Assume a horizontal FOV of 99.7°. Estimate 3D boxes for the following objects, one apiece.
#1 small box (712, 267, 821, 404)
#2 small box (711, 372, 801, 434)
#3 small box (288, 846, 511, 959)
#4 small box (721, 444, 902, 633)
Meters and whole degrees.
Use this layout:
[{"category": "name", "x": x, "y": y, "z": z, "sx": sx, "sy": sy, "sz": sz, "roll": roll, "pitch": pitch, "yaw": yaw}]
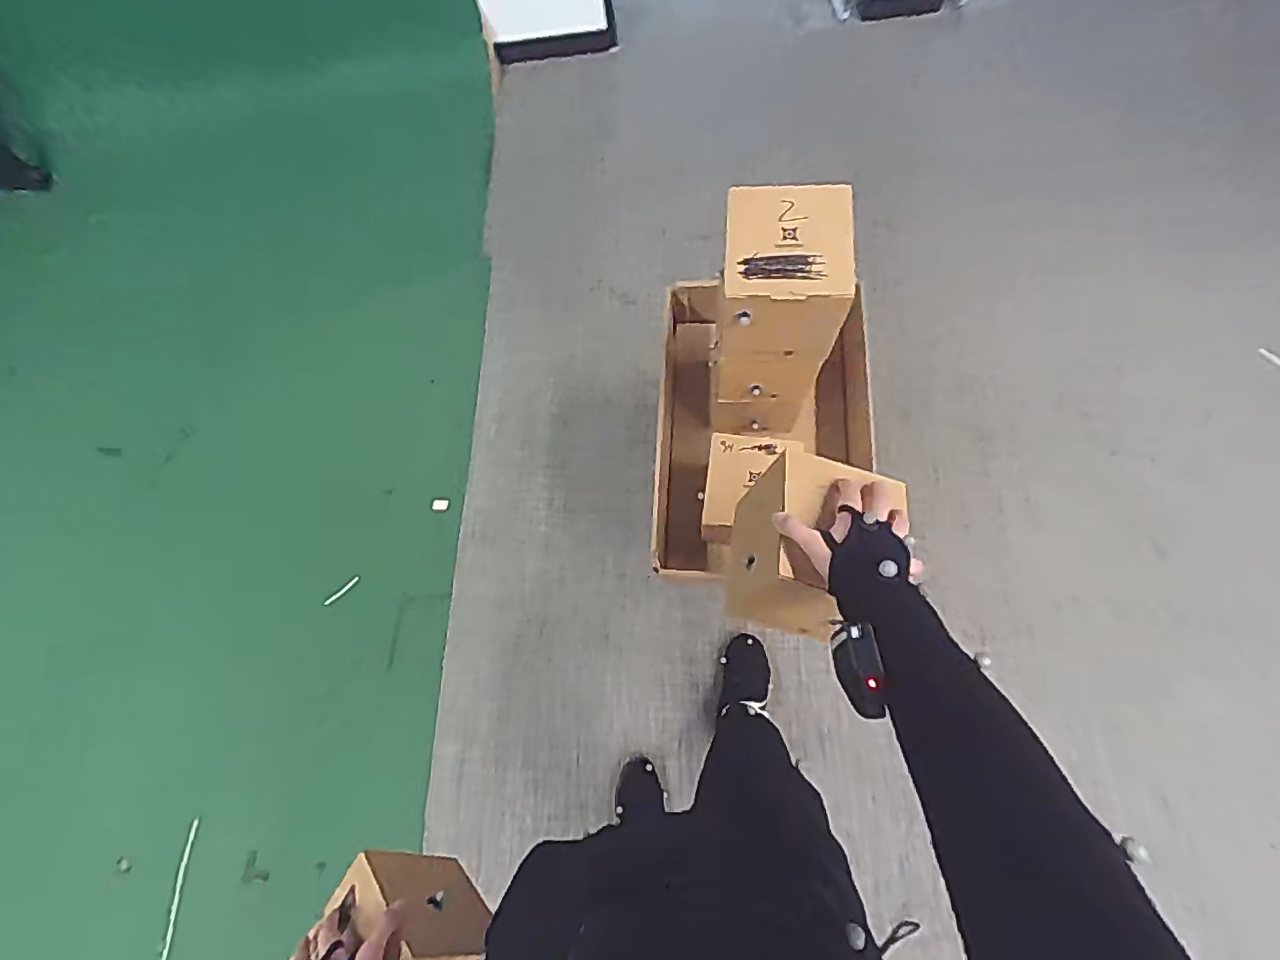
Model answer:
[{"category": "small box", "x": 0.215, "y": -0.250, "z": 0.954, "sx": 0.168, "sy": 0.176, "sz": 0.179, "roll": 1, "pitch": 75, "yaw": 6}, {"category": "small box", "x": 0.232, "y": -0.208, "z": 1.110, "sx": 0.168, "sy": 0.176, "sz": 0.179, "roll": 2, "pitch": 75, "yaw": 7}, {"category": "small box", "x": -0.300, "y": 0.600, "z": 0.673, "sx": 0.179, "sy": 0.176, "sz": 0.168, "roll": 16, "pitch": 69, "yaw": 43}, {"category": "small box", "x": 0.217, "y": 0.087, "z": 0.713, "sx": 0.168, "sy": 0.176, "sz": 0.179, "roll": 17, "pitch": 59, "yaw": -6}]
